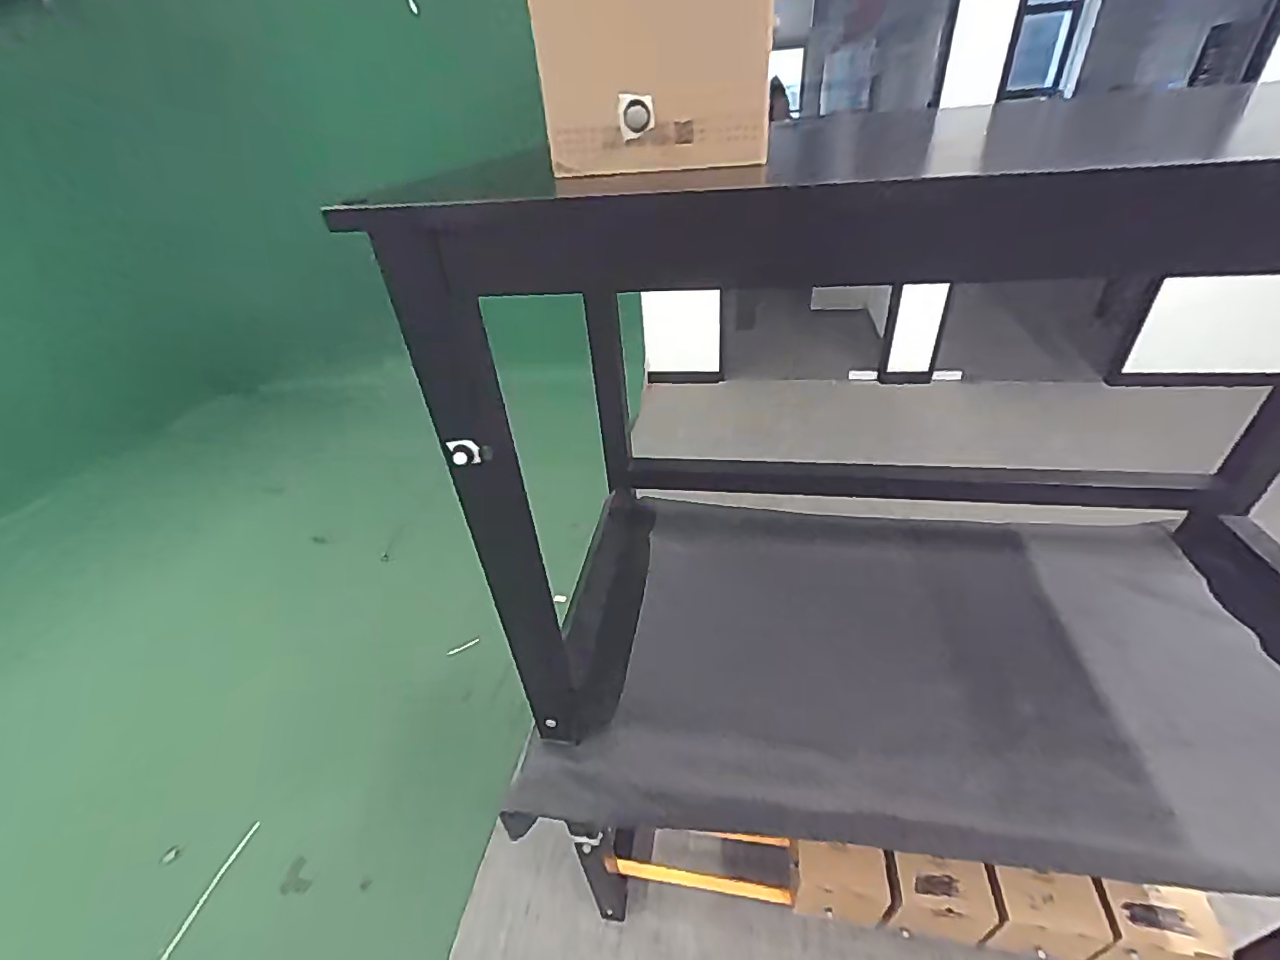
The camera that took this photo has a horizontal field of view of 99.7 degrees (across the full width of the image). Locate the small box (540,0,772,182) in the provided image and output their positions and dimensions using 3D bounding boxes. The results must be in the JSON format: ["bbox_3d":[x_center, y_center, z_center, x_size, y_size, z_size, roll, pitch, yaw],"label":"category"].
[{"bbox_3d":[0.018,-0.354,0.449,0.168,0.176,0.179,-1,35,8],"label":"small box"}]
